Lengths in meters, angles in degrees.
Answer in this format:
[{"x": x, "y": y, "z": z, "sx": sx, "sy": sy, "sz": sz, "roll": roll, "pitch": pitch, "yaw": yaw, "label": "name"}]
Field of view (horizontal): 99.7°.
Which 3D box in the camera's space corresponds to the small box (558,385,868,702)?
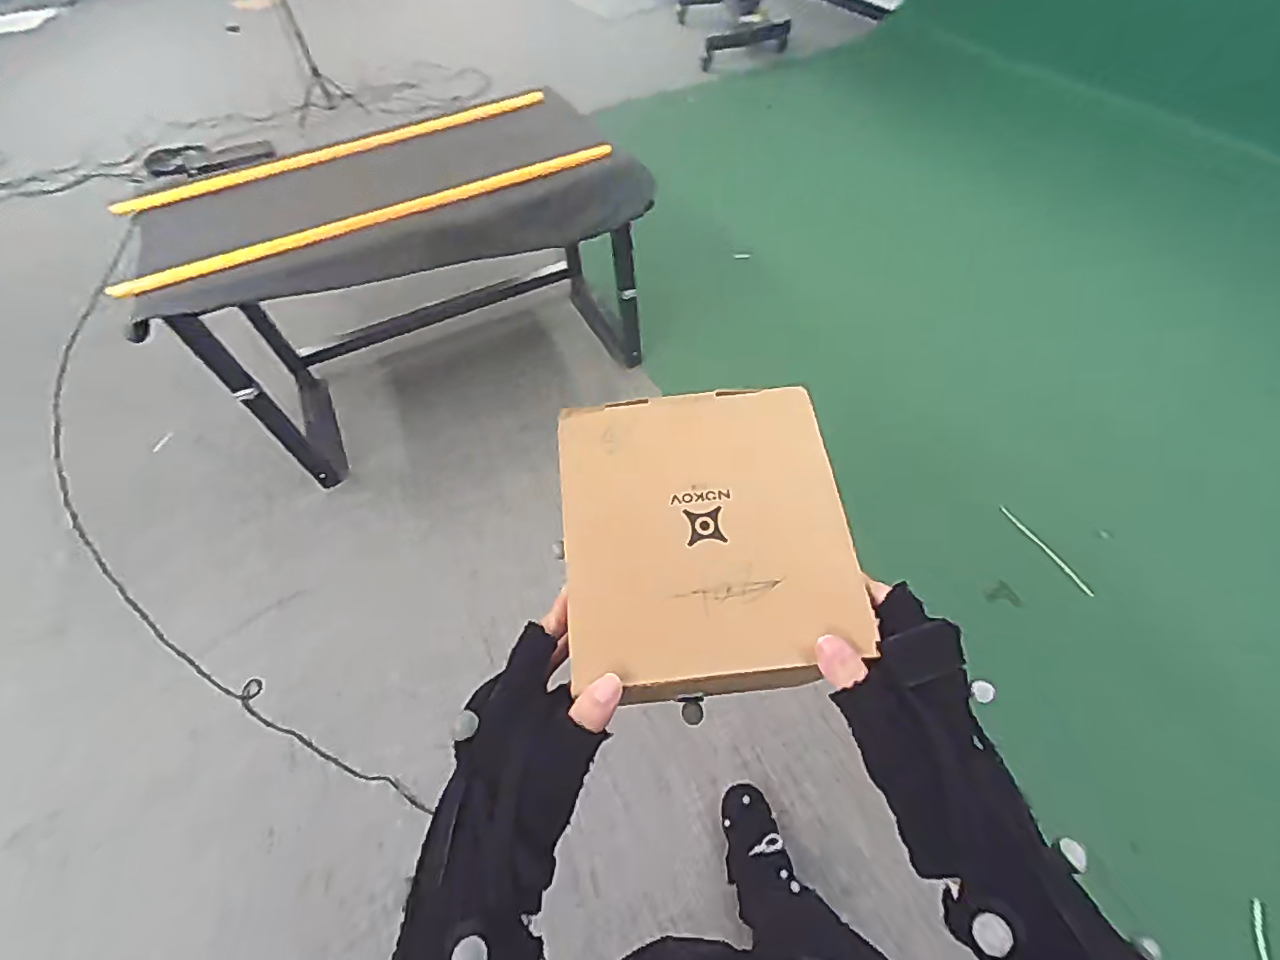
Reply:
[{"x": 0.034, "y": 0.055, "z": 0.395, "sx": 0.168, "sy": 0.176, "sz": 0.179, "roll": -6, "pitch": 65, "yaw": -2, "label": "small box"}]
